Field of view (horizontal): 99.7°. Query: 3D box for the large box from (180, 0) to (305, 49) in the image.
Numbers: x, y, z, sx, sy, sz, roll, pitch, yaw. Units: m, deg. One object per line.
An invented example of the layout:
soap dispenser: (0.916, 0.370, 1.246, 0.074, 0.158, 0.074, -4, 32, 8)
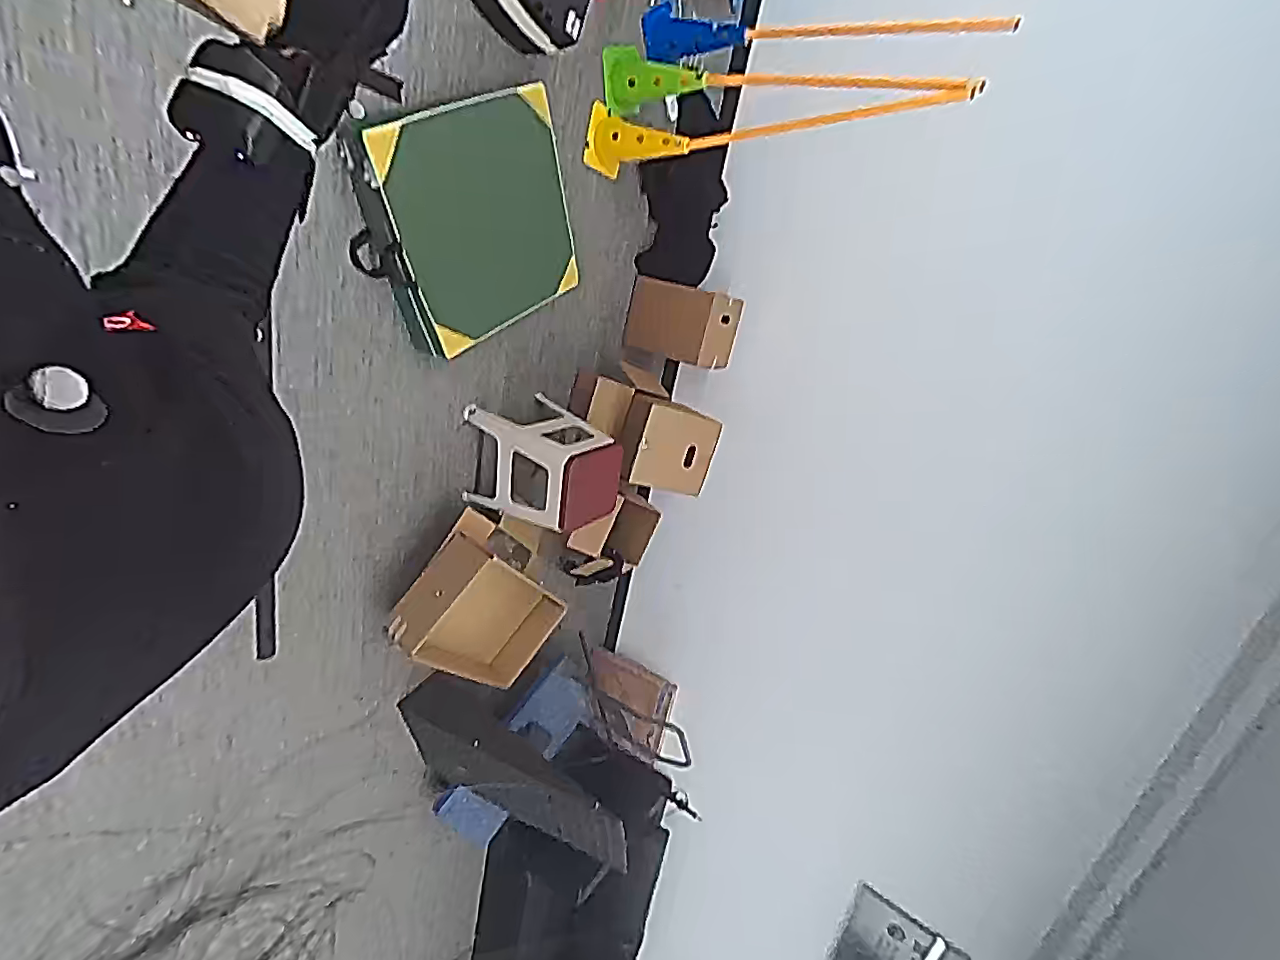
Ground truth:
large box: (-0.387, -0.560, 0.282, 0.320, 0.320, 0.408, -54, 154, 9)
